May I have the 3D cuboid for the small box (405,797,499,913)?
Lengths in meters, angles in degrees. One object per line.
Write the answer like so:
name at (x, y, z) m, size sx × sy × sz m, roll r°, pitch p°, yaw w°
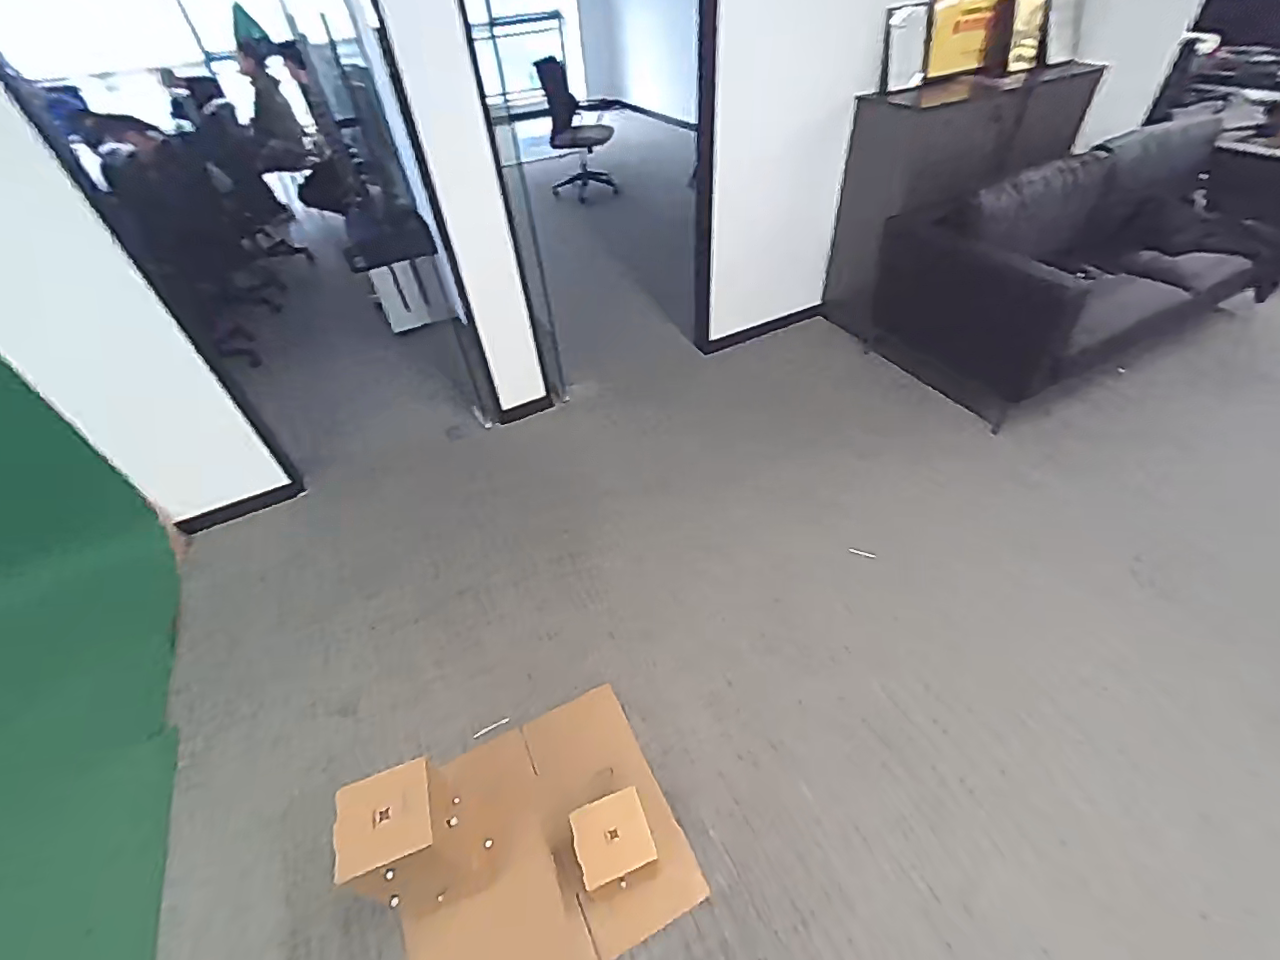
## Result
small box at (-0.464, 0.926, 1.332) m, size 0.179 × 0.176 × 0.168 m, roll -18°, pitch 46°, yaw -13°

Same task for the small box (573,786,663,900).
small box at (-0.051, 0.892, 1.326) m, size 0.179 × 0.176 × 0.168 m, roll -19°, pitch 45°, yaw -12°

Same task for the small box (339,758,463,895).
small box at (-0.477, 0.702, 1.093) m, size 0.179 × 0.176 × 0.168 m, roll -17°, pitch 46°, yaw -12°
